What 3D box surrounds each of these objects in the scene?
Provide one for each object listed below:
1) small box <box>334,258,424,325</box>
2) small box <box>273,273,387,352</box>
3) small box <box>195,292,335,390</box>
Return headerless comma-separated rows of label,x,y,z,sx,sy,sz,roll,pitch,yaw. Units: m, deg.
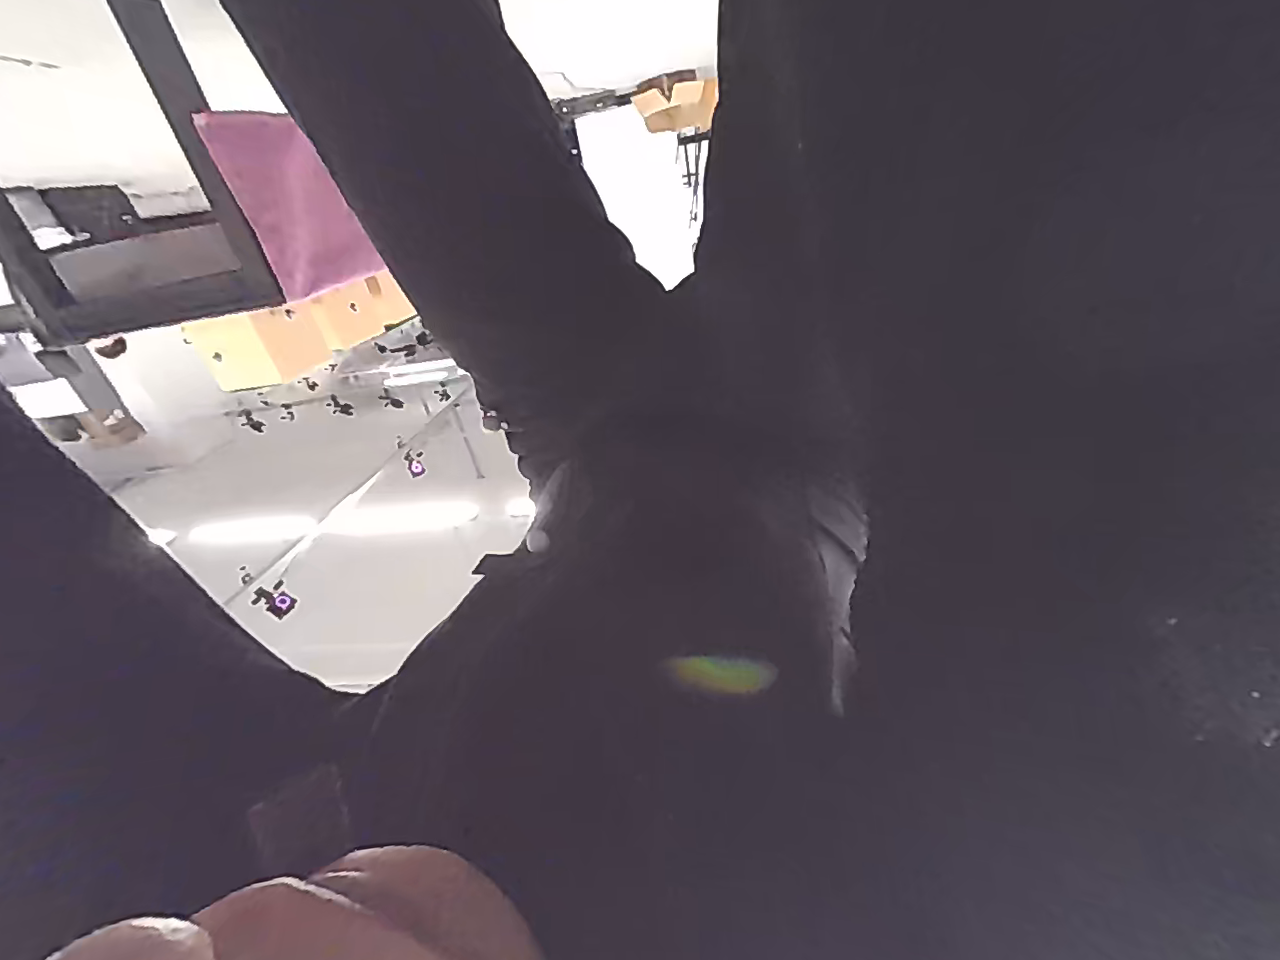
small box,-0.813,-0.579,1.675,0.179,0.176,0.168,-5,-150,15
small box,-0.833,-0.452,1.457,0.179,0.176,0.168,-1,-150,20
small box,-0.846,-0.317,1.220,0.179,0.176,0.168,-4,-149,15
